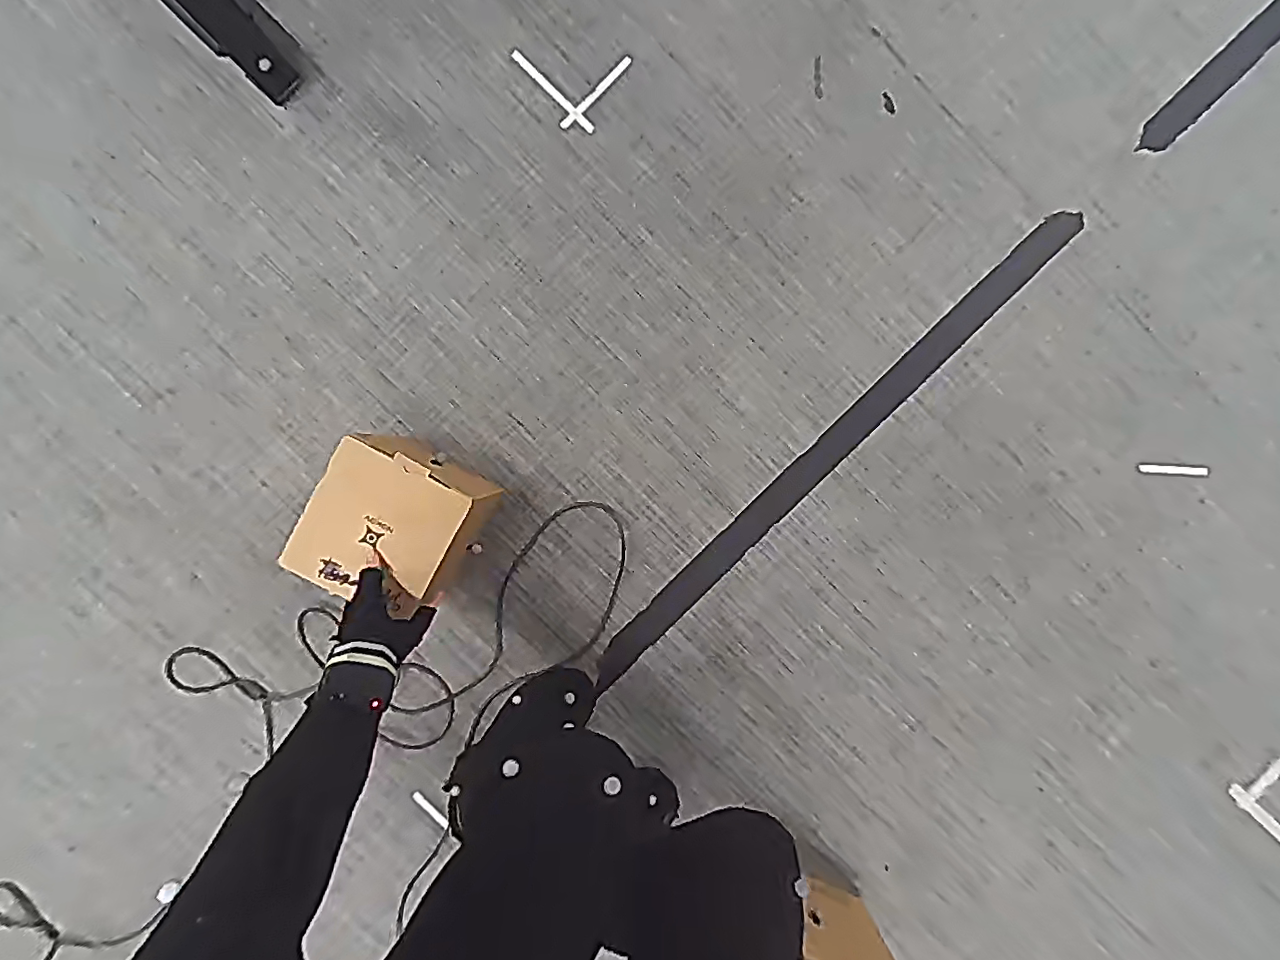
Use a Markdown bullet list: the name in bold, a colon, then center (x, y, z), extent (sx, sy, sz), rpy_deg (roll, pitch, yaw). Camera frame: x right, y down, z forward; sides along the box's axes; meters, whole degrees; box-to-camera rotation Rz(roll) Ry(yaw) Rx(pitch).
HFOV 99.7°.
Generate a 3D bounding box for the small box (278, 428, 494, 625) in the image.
- **small box**: center (-0.305, 0.051, 0.696), extent (0.168, 0.176, 0.179), rpy_deg (29, 90, -3)

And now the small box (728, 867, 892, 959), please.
- **small box**: center (0.235, 0.688, 0.741), extent (0.168, 0.176, 0.179), rpy_deg (25, 92, -2)
